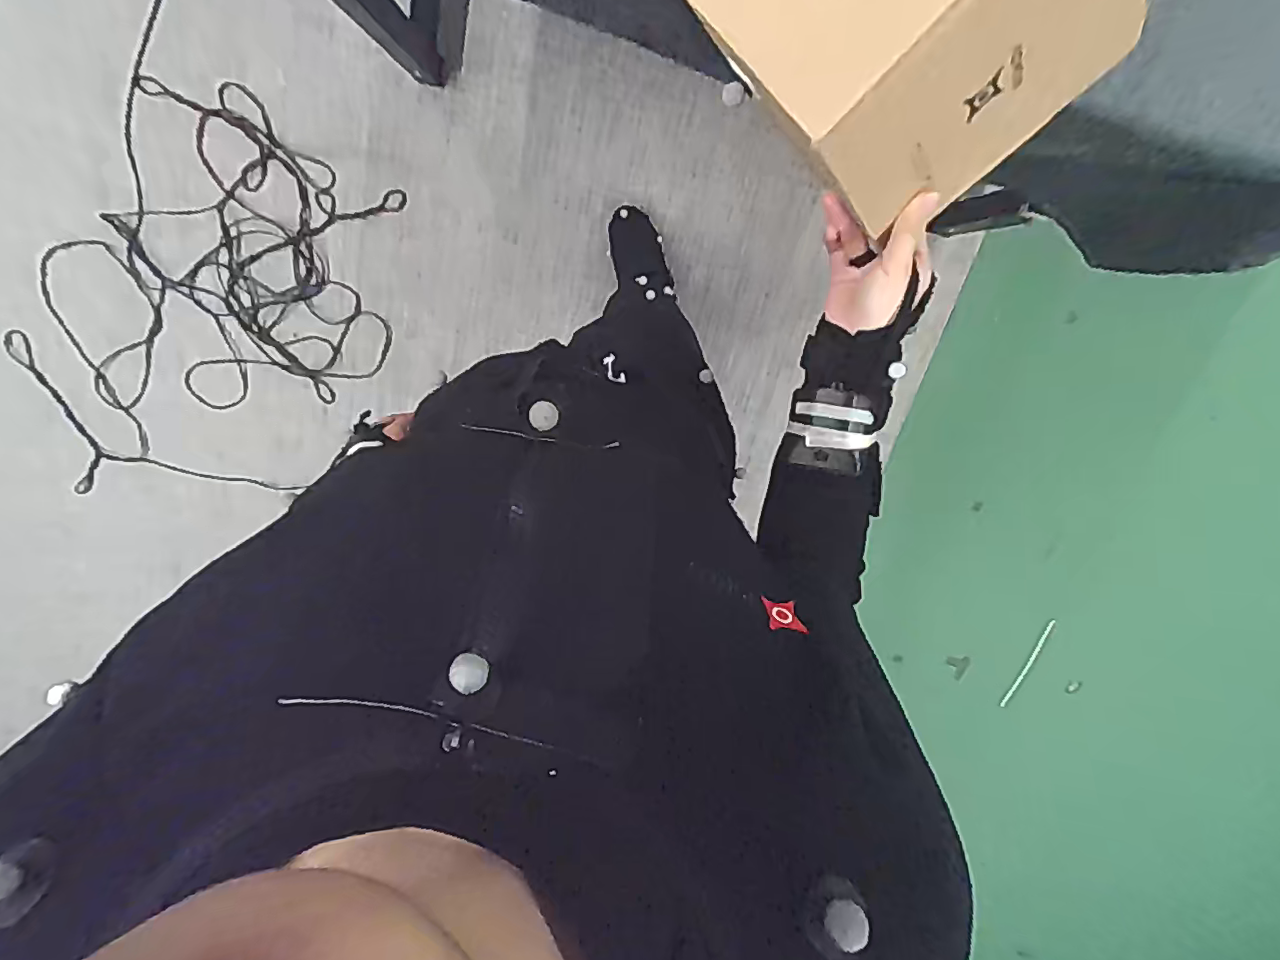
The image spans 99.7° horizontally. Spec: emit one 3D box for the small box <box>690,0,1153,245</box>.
[{"bbox_3d":[0.159,-0.290,0.324,0.179,0.168,0.176,-40,66,29],"label":"small box"}]
